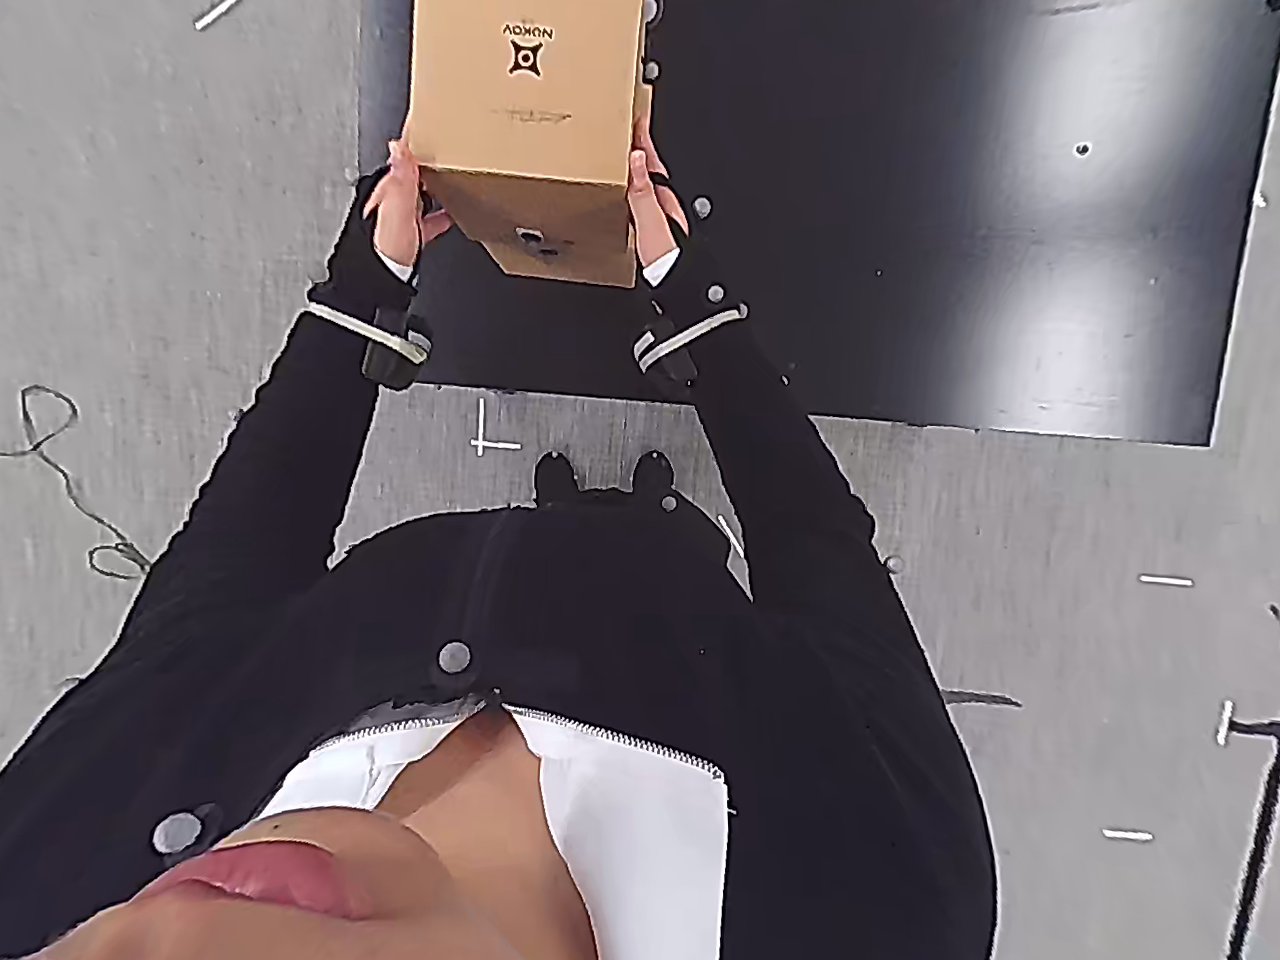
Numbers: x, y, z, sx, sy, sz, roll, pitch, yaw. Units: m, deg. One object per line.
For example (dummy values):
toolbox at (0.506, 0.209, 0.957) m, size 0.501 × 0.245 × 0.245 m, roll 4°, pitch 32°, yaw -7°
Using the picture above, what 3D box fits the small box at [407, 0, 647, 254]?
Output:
small box at (-0.084, -0.323, 0.474) m, size 0.168 × 0.176 × 0.179 m, roll 5°, pitch 94°, yaw -2°

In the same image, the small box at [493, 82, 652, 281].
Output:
small box at (-0.084, -0.346, 0.641) m, size 0.179 × 0.176 × 0.168 m, roll 6°, pitch 96°, yaw -3°
